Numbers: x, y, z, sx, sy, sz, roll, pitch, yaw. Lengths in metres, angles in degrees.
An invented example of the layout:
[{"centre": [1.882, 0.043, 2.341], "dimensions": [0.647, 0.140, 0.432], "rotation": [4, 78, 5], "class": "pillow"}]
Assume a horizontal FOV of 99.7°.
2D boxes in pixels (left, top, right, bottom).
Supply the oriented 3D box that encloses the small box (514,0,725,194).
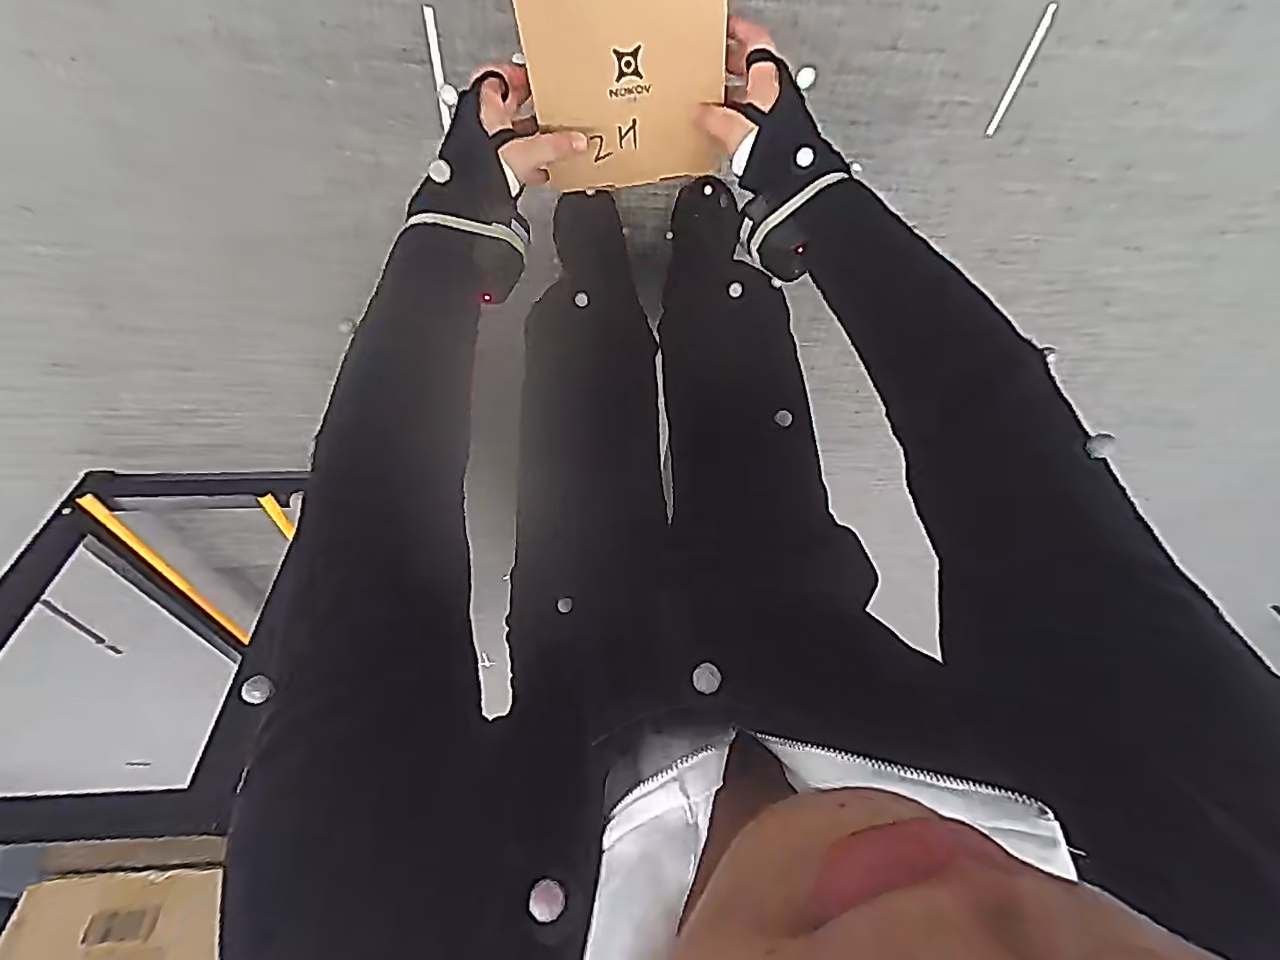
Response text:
[{"centre": [-0.018, -0.399, 0.501], "dimensions": [0.168, 0.176, 0.179], "rotation": [-6, 142, 1], "class": "small box"}]
